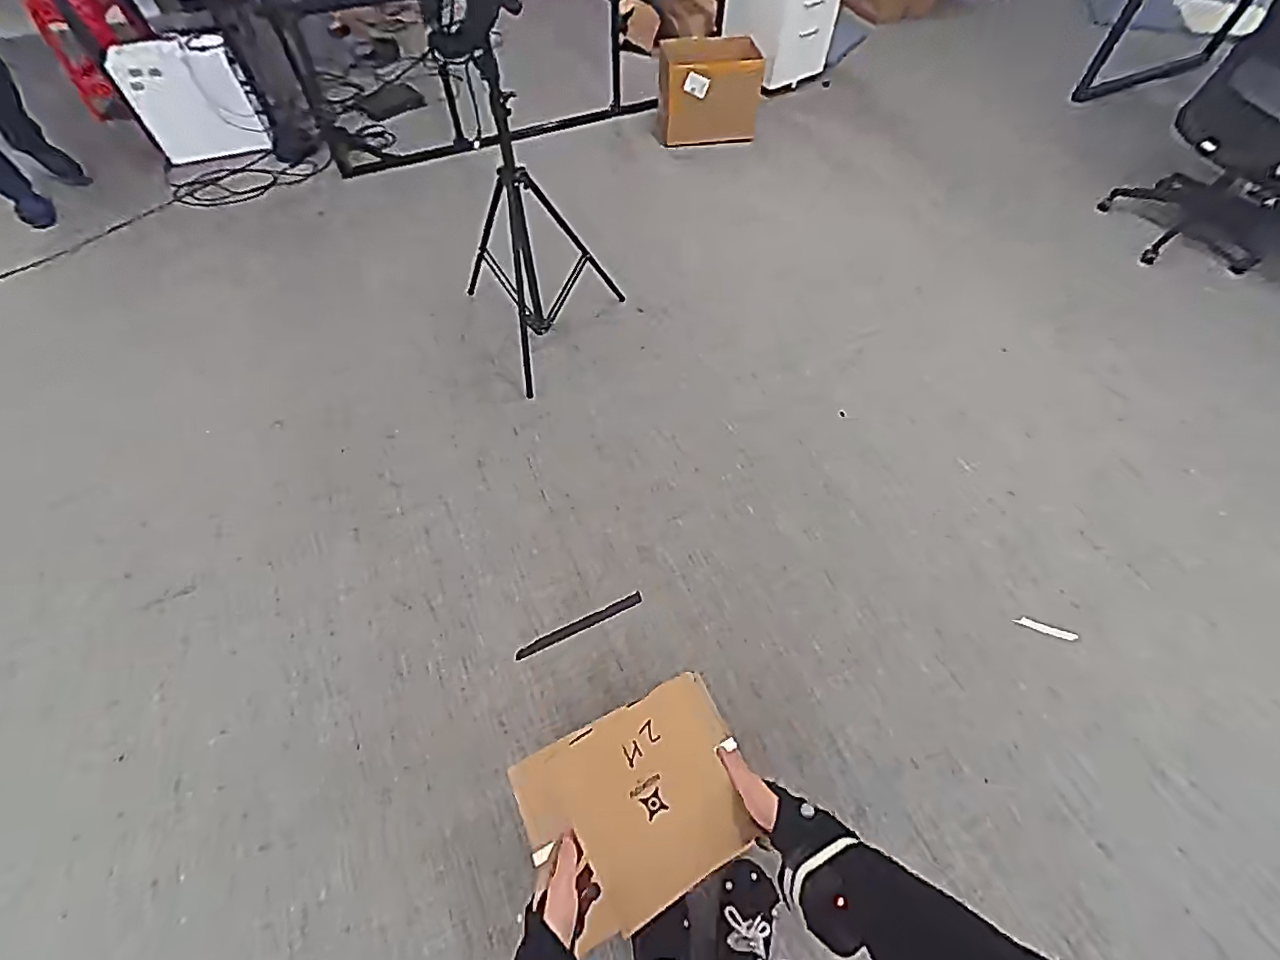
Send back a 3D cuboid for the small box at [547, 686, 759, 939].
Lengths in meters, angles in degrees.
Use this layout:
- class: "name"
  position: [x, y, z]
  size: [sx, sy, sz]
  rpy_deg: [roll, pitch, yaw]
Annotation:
- class: "small box"
  position: [0.009, 0.374, 0.631]
  size: [0.168, 0.176, 0.179]
  rpy_deg: [-25, 62, -17]
